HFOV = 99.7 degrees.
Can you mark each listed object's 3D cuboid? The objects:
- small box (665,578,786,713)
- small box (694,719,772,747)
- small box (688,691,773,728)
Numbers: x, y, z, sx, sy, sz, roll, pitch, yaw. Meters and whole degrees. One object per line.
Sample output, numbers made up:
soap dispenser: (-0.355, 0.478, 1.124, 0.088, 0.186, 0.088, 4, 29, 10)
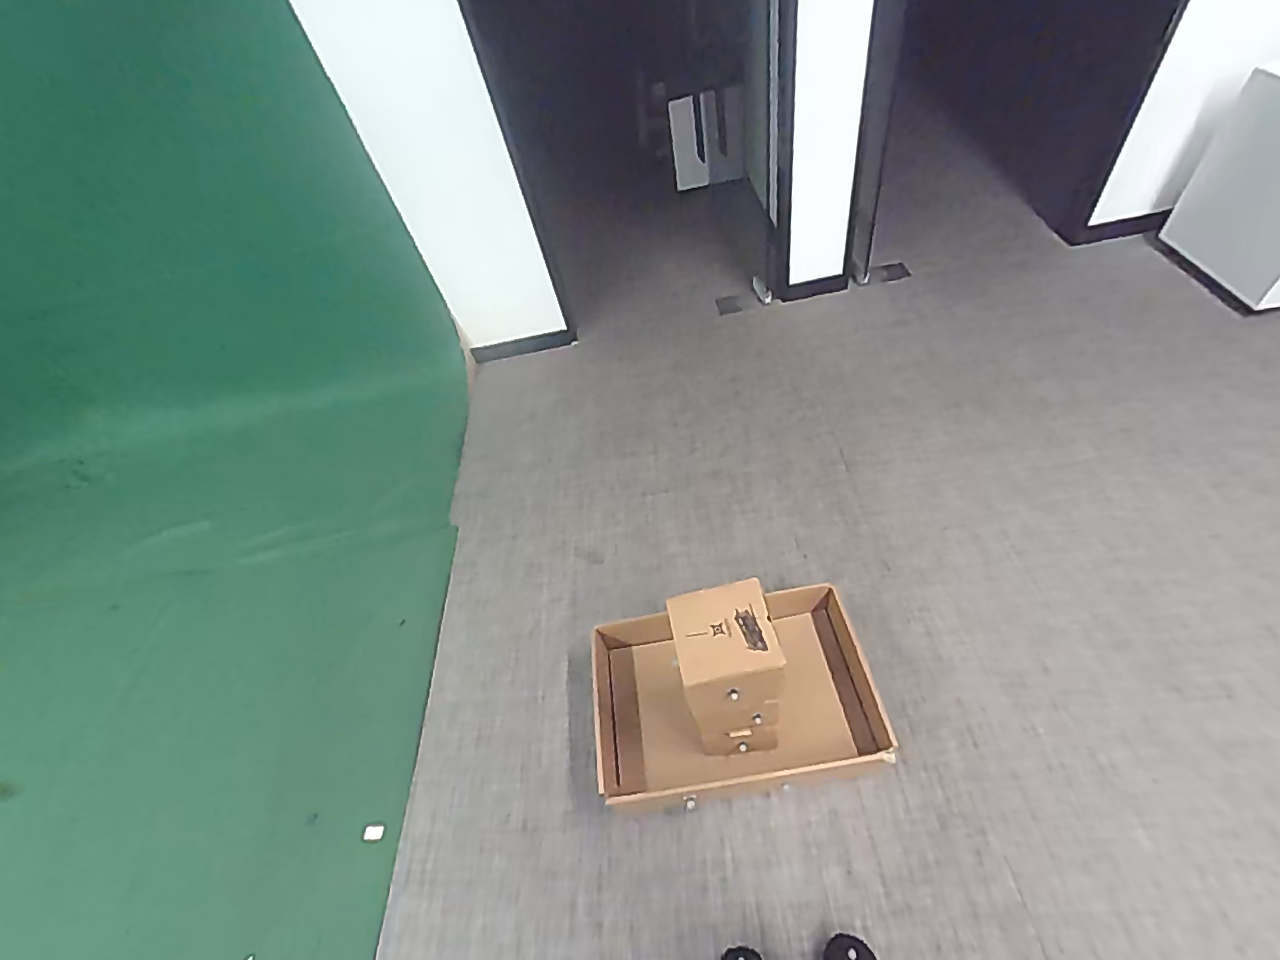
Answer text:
small box: (0.154, 0.309, 1.001, 0.179, 0.176, 0.168, -15, 50, 0)
small box: (0.210, 0.508, 1.254, 0.168, 0.176, 0.179, -9, 50, 6)
small box: (0.181, 0.406, 1.131, 0.168, 0.176, 0.179, -10, 49, 5)
